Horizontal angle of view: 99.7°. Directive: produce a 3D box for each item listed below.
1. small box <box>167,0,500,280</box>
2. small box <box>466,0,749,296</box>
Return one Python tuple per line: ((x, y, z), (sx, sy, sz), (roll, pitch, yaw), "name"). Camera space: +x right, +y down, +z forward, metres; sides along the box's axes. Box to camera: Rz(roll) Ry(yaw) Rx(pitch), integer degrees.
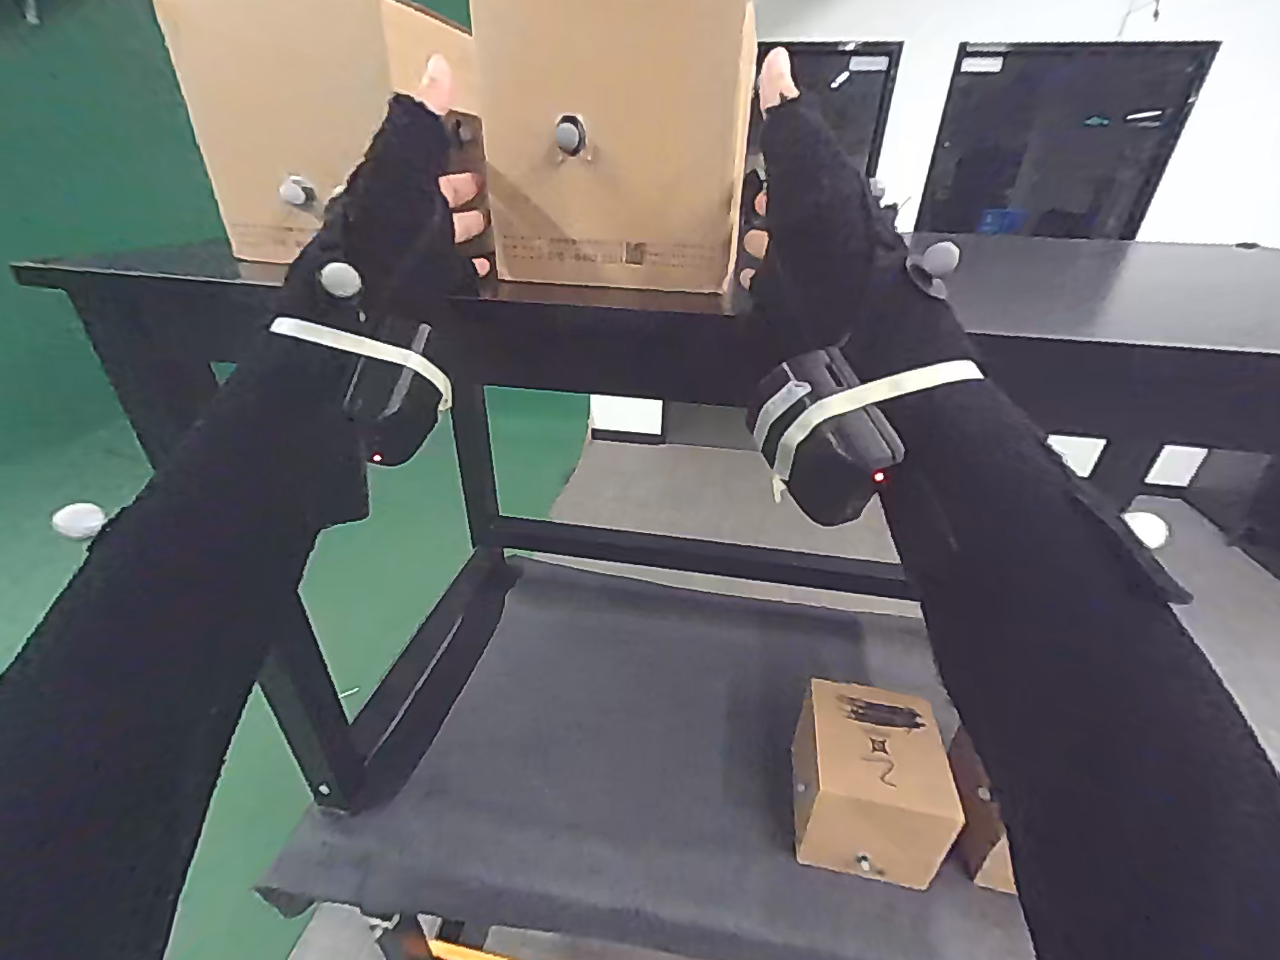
((-0.228, -0.279, 0.462), (0.168, 0.176, 0.179), (7, 31, 8), "small box")
((-0.009, -0.245, 0.418), (0.168, 0.176, 0.179), (7, 30, 9), "small box")
